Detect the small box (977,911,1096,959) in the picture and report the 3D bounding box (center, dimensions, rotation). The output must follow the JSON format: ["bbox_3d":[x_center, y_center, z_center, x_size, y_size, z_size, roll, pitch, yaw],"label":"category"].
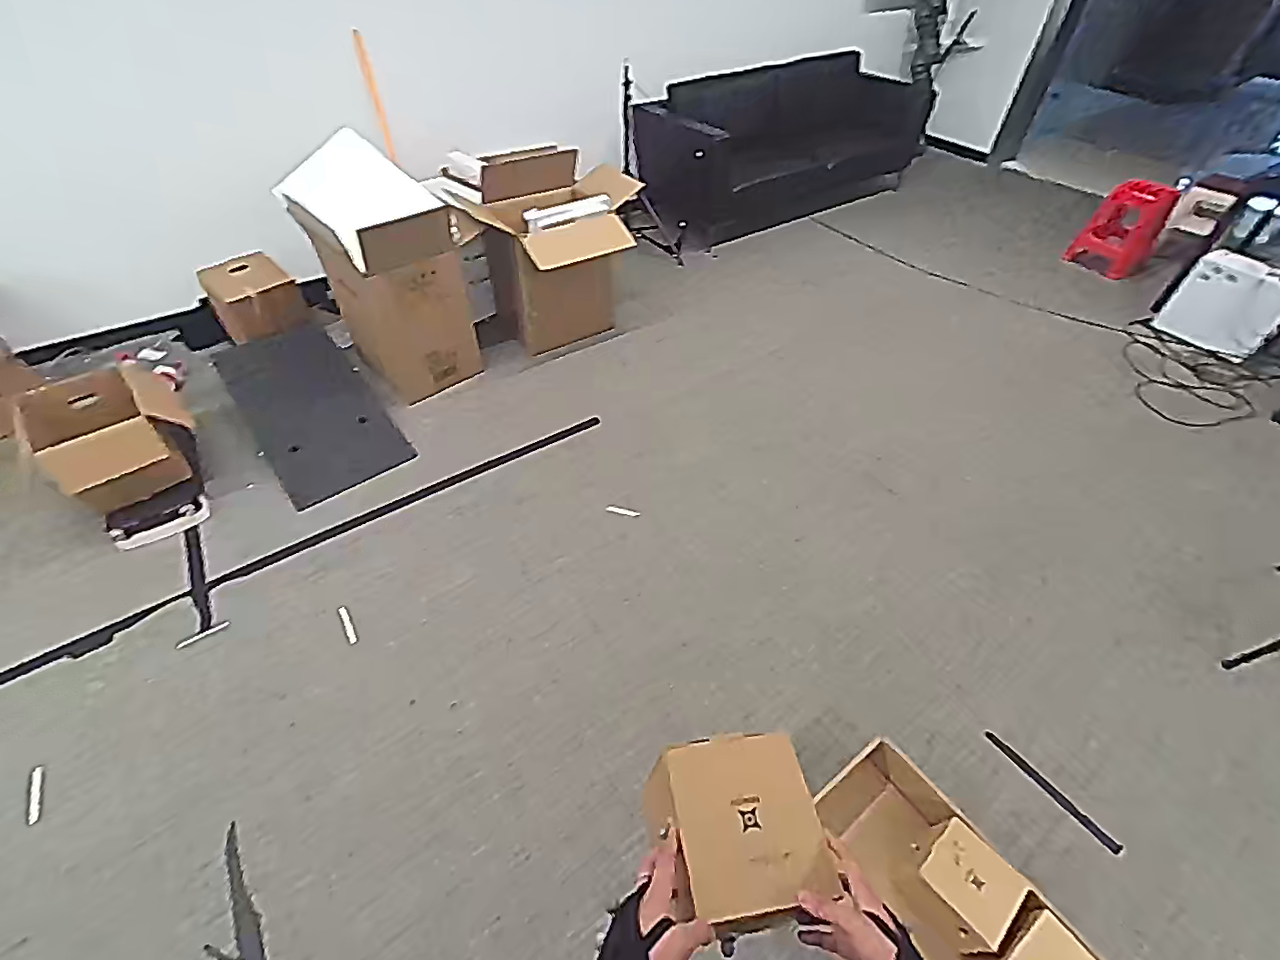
[{"bbox_3d":[0.825,1.029,1.104,0.179,0.176,0.168,-29,52,-21],"label":"small box"}]

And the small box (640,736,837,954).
[{"bbox_3d":[0.101,0.439,0.658,0.168,0.176,0.179,0,43,-13],"label":"small box"}]
